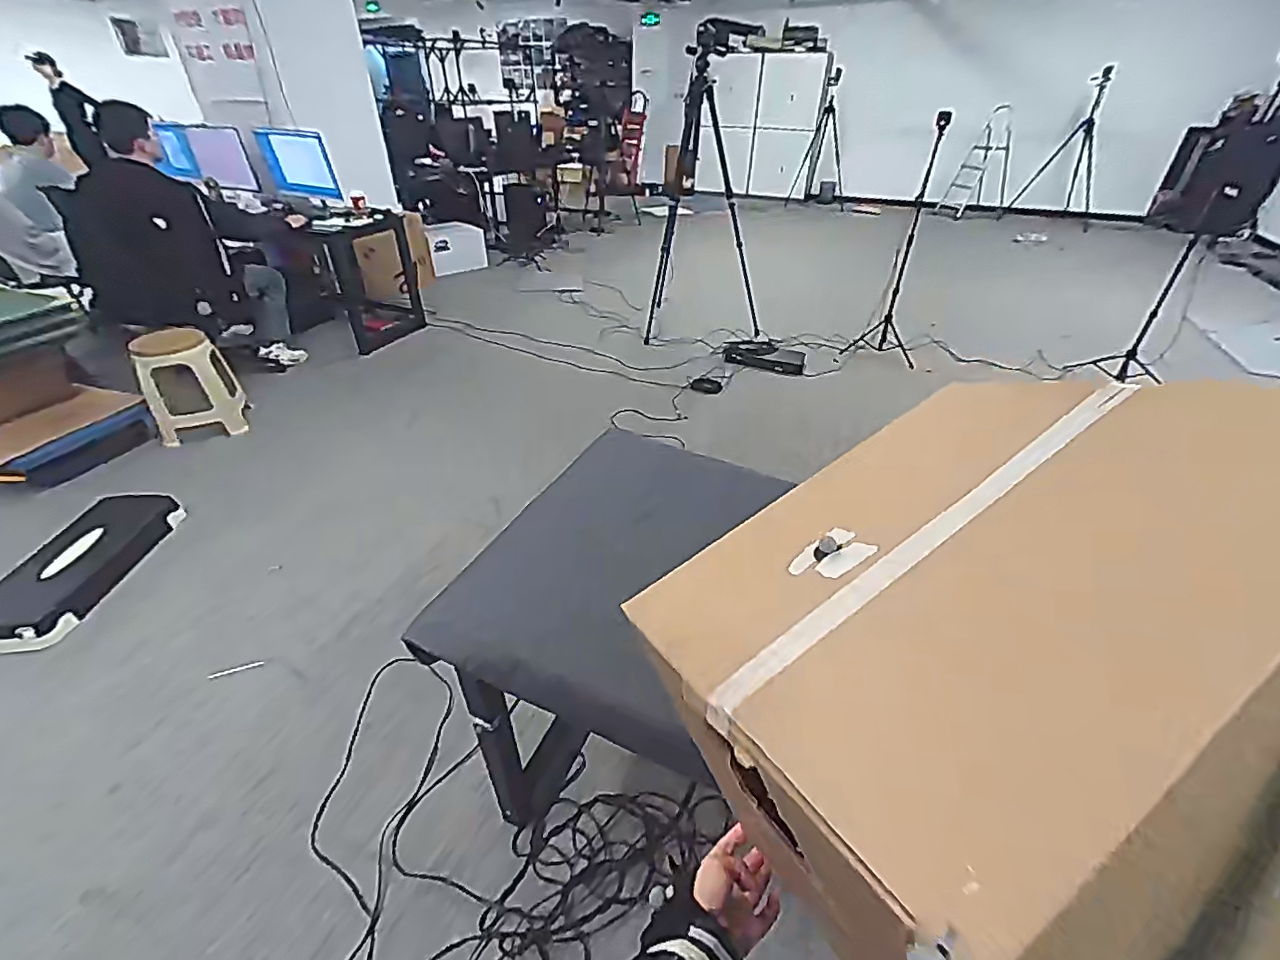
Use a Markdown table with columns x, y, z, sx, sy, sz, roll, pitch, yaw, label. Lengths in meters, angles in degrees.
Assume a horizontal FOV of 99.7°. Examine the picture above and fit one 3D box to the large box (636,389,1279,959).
| x | y | z | sx | sy | sz | roll | pitch | yaw | label |
| --- | --- | --- | --- | --- | --- | --- | --- | --- | --- |
| 0.279 | 0.166 | 0.426 | 0.408 | 0.320 | 0.320 | -34 | 22 | -15 | large box |
